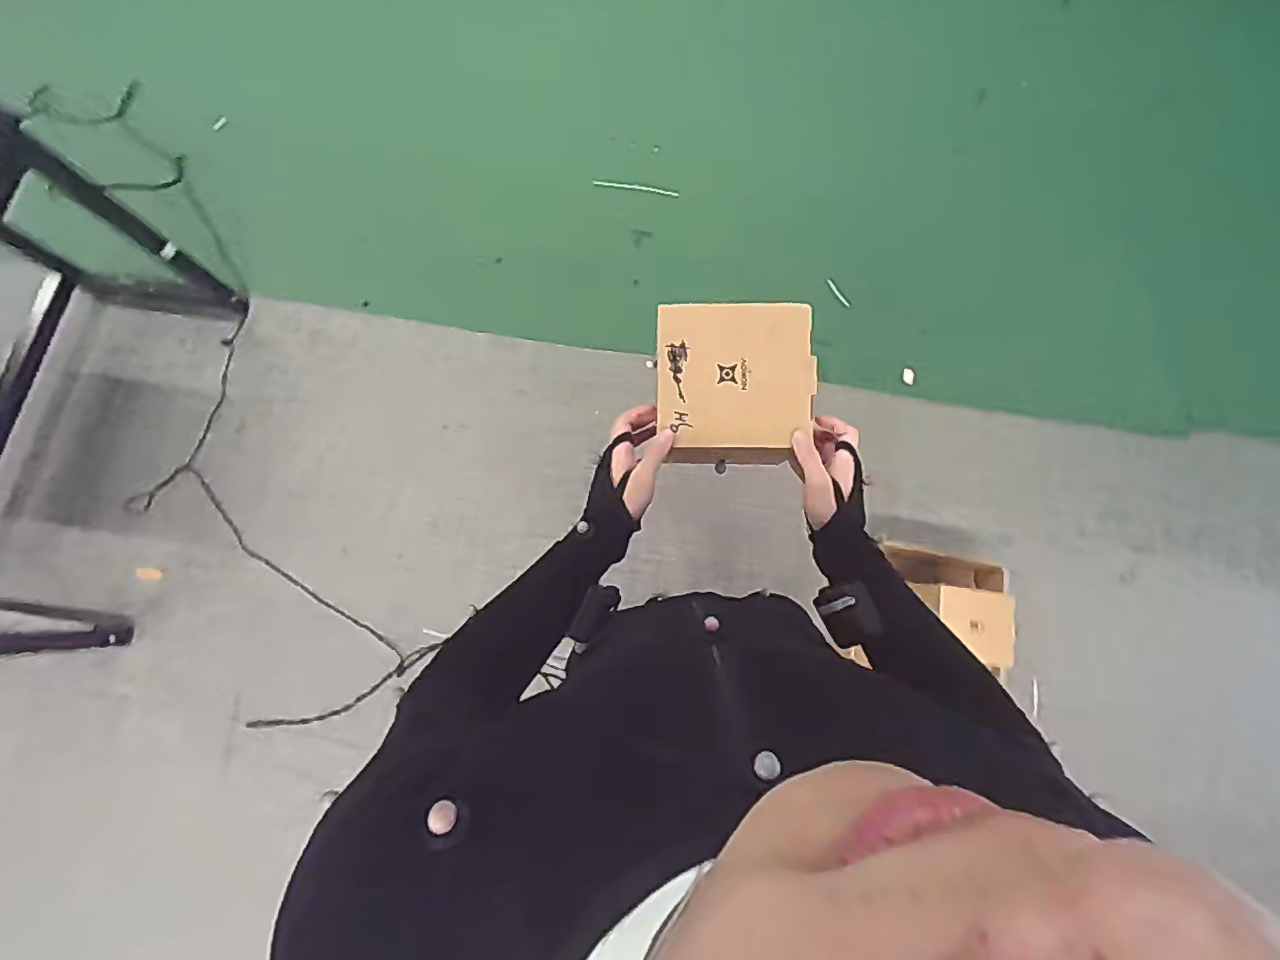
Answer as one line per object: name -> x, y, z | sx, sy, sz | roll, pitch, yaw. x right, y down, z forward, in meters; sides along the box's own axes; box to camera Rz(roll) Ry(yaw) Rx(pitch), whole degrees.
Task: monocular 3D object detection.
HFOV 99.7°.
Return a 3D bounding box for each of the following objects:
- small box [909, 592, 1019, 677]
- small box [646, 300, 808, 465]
small box -> 0.779, 0.370, 1.315 | 0.179, 0.176, 0.168 | 9, 78, 2
small box -> 0.097, -0.111, 0.676 | 0.179, 0.176, 0.168 | 0, 84, 0
